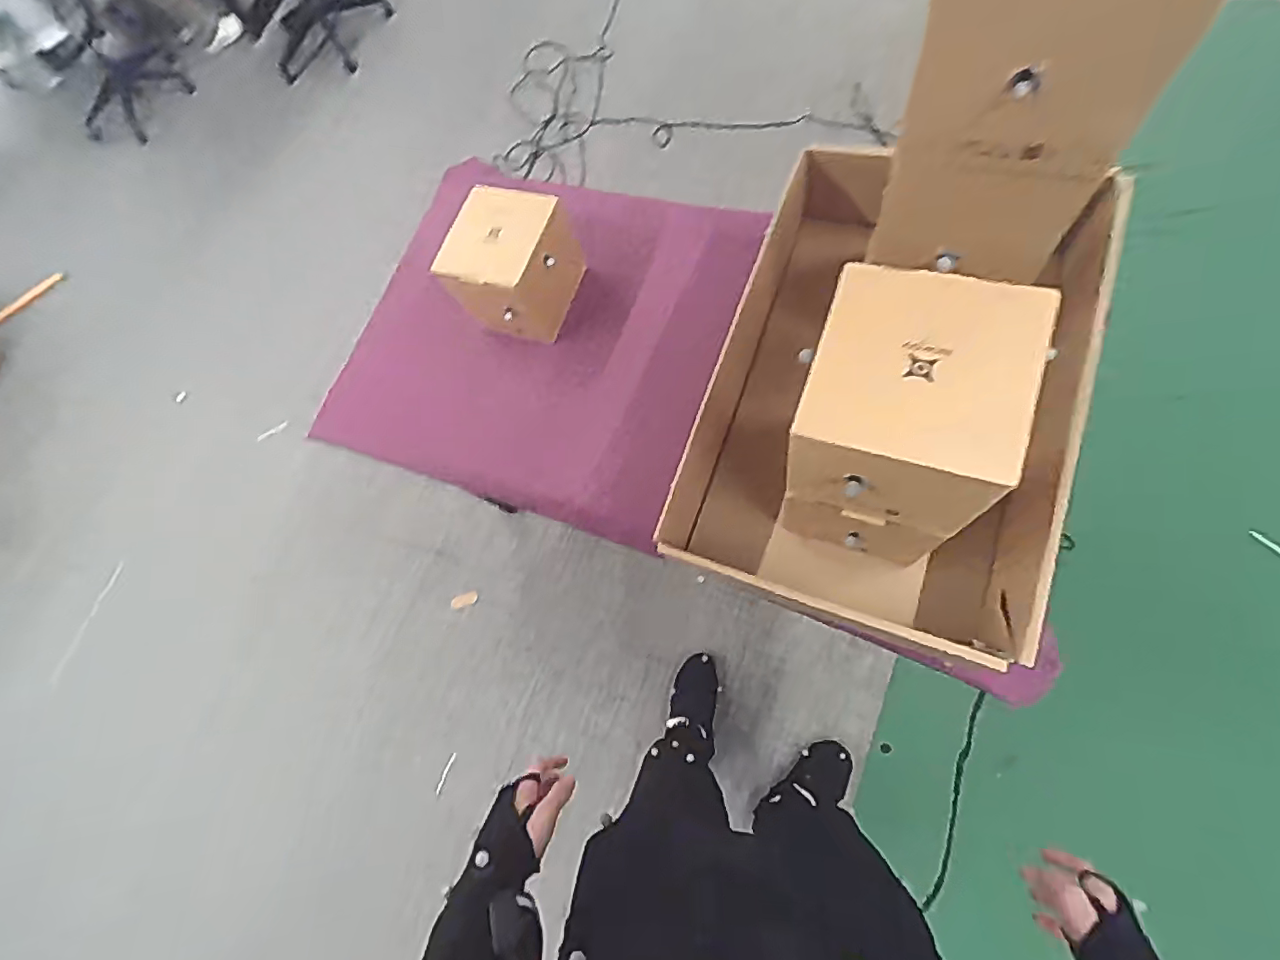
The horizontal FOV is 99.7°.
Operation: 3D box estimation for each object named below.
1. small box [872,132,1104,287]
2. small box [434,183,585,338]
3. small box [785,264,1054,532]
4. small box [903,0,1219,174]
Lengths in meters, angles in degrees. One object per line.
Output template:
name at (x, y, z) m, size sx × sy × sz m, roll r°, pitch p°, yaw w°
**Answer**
small box at (0.353, -0.323, 0.560) m, size 0.168 × 0.176 × 0.179 m, roll 16°, pitch 79°, yaw 19°
small box at (-0.215, -0.375, 0.944) m, size 0.168 × 0.176 × 0.179 m, roll 18°, pitch 78°, yaw 17°
small box at (0.243, -0.066, 0.508) m, size 0.168 × 0.176 × 0.179 m, roll 17°, pitch 75°, yaw 19°
small box at (0.314, -0.366, 0.405) m, size 0.168 × 0.176 × 0.179 m, roll 17°, pitch 79°, yaw 18°
